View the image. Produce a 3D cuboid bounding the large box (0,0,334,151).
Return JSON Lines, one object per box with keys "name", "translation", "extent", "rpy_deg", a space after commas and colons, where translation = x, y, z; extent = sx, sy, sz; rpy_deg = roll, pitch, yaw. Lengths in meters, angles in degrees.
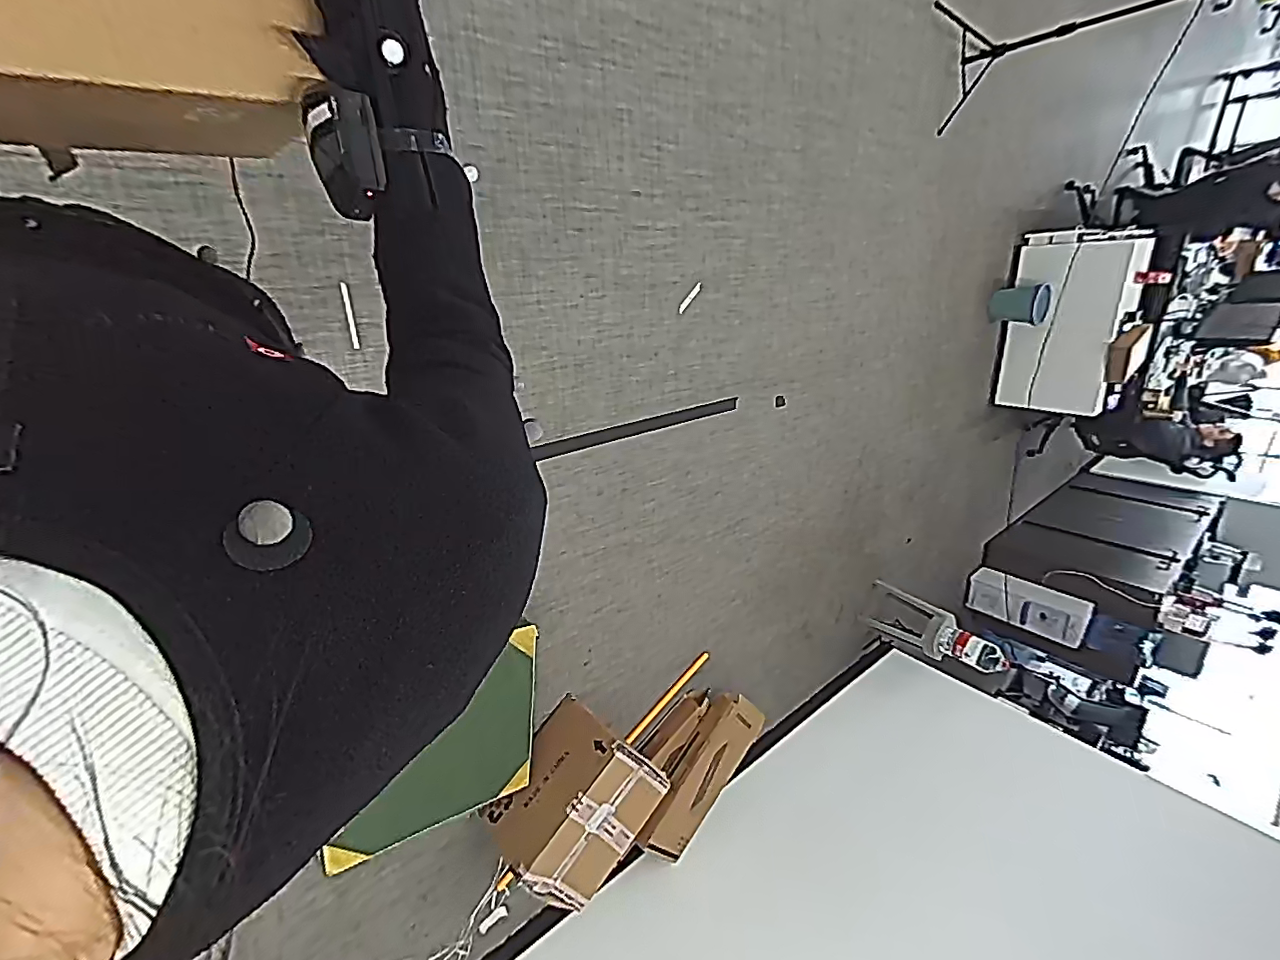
{"name": "large box", "translation": [-0.462, -0.385, 0.299], "extent": [0.408, 0.320, 0.320], "rpy_deg": [-21, 122, -36]}
